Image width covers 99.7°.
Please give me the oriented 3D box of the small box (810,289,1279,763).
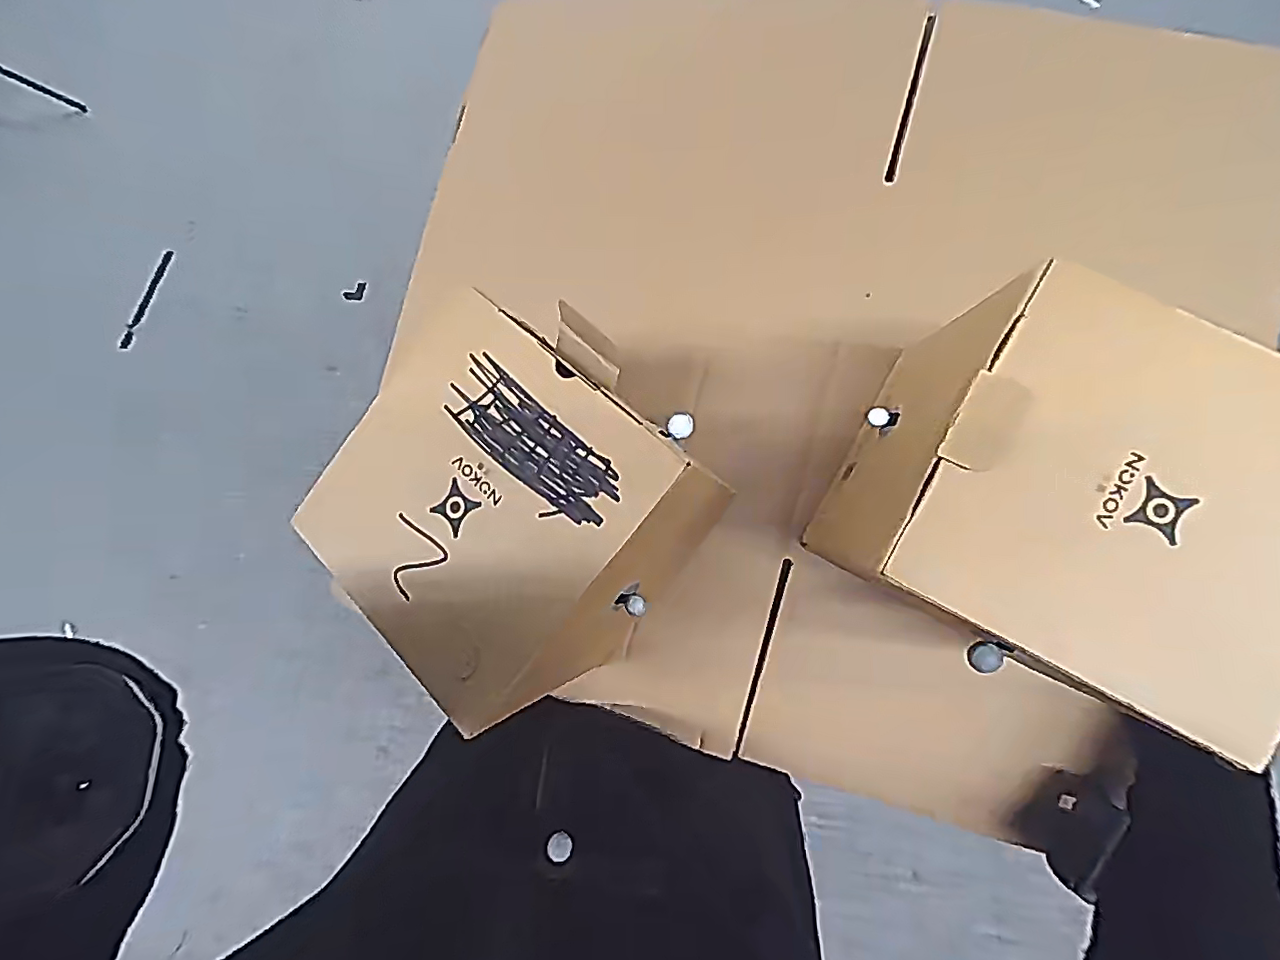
[{"bbox_3d":[0.231,0.020,0.328,0.179,0.176,0.168,28,91,7],"label":"small box"}]
